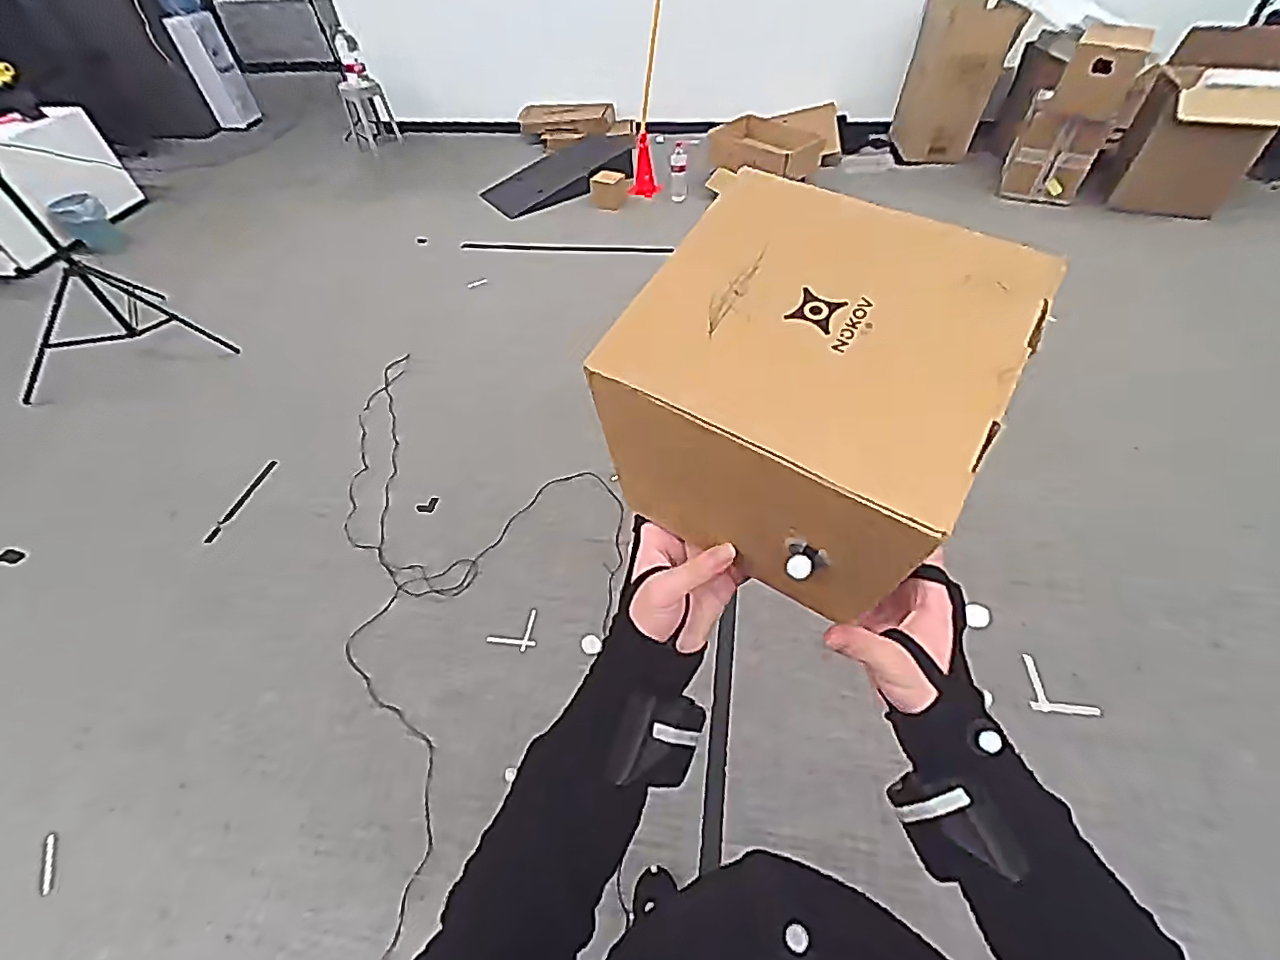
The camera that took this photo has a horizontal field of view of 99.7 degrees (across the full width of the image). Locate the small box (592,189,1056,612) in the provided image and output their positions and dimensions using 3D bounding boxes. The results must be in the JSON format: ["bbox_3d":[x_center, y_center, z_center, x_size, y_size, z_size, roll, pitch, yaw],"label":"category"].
[{"bbox_3d":[0.099,-0.036,0.338,0.179,0.176,0.168,28,69,19],"label":"small box"}]
